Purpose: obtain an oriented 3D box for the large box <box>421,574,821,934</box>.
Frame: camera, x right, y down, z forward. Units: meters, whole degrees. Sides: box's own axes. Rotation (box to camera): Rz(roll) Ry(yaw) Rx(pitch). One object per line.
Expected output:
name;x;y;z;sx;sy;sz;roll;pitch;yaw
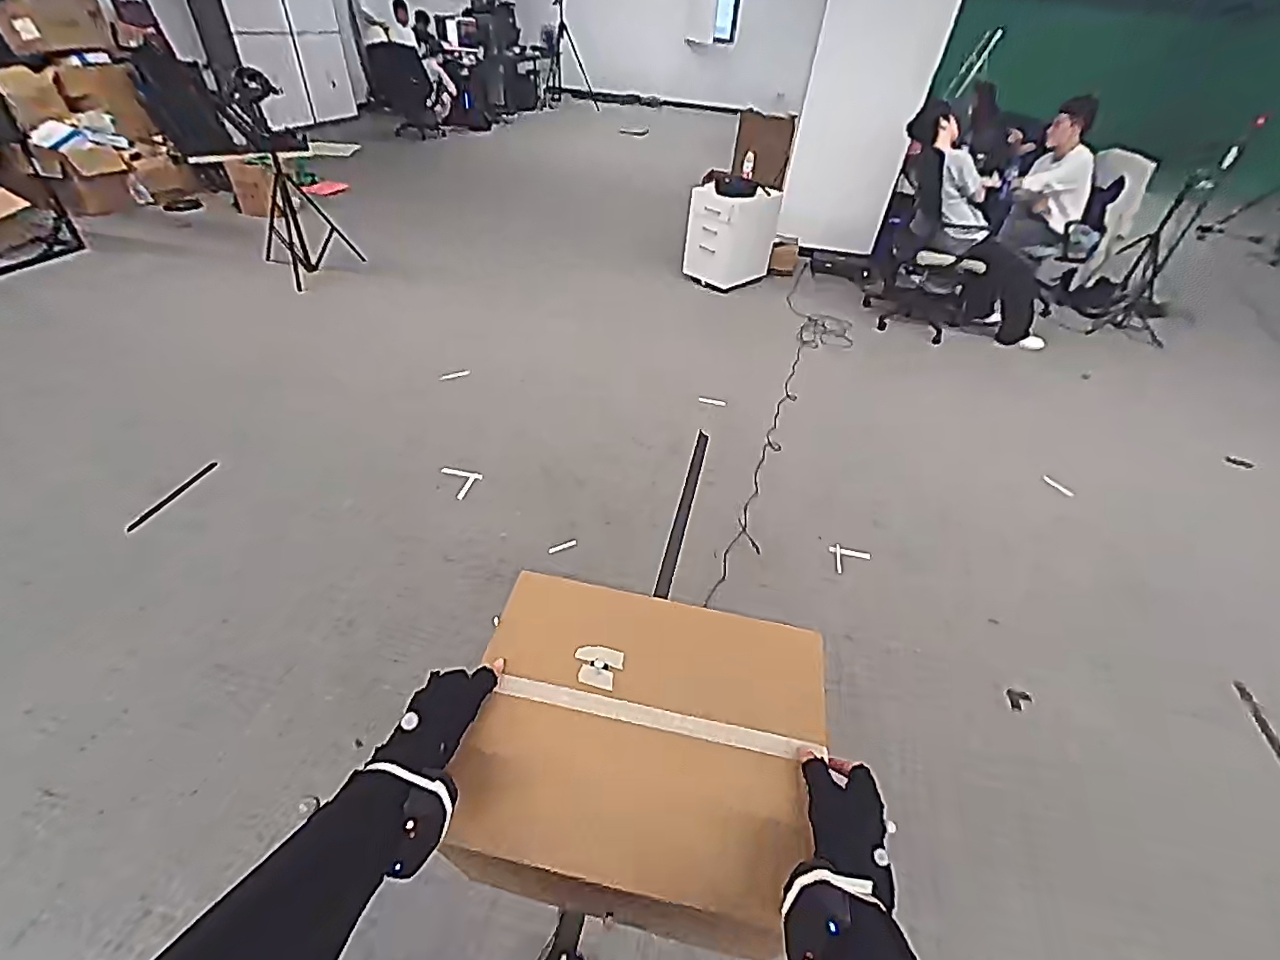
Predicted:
large box;-0.003;0.369;0.730;0.408;0.320;0.320;10;46;6
